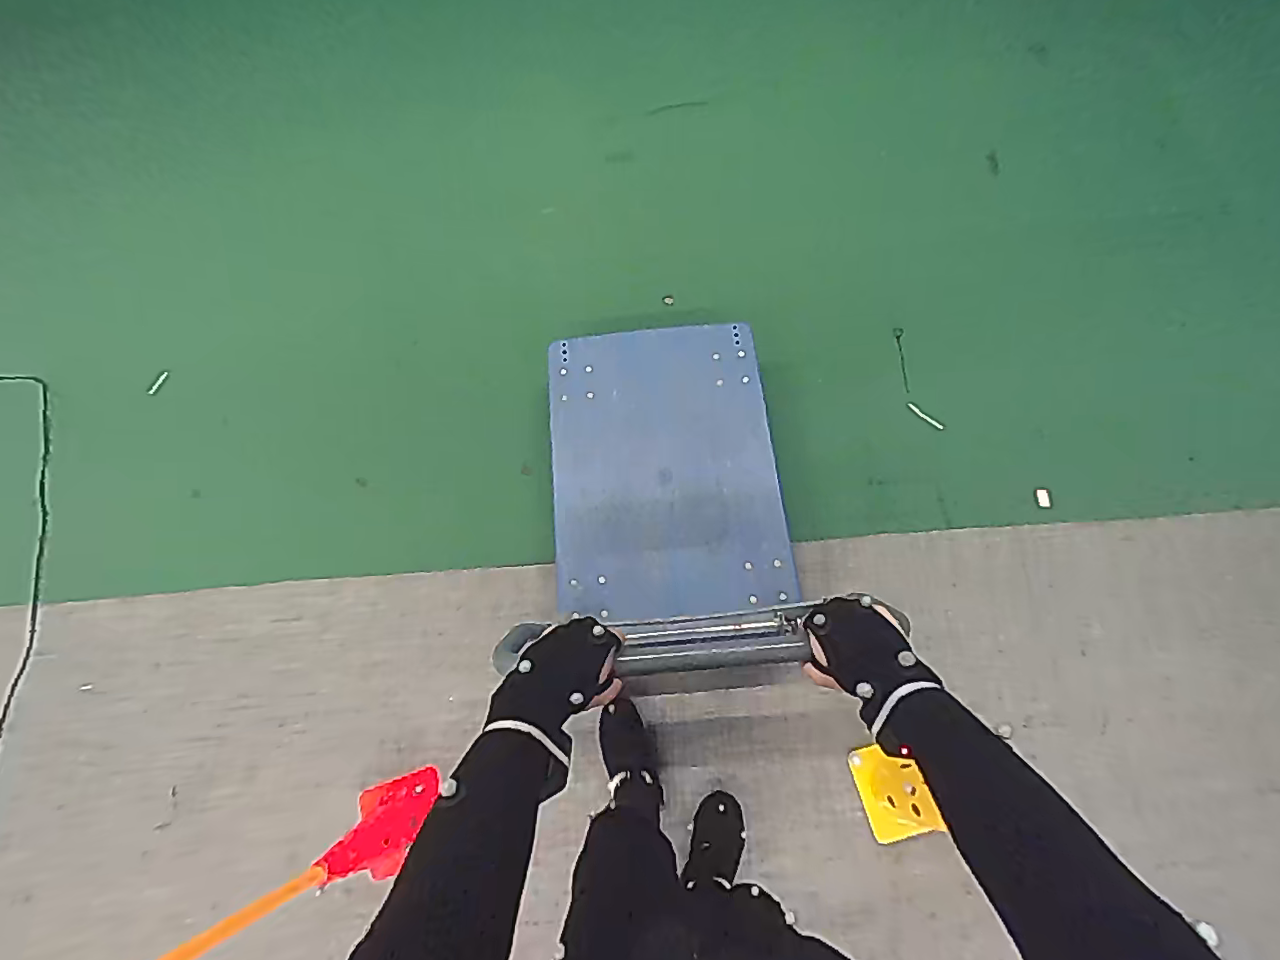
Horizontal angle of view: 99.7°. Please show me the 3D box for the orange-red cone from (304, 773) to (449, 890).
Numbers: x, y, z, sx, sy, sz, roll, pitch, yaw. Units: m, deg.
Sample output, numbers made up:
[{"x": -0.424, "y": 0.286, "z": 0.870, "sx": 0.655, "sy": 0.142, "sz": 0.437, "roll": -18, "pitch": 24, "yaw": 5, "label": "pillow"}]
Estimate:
[{"x": -0.575, "y": 0.773, "z": 1.131, "sx": 0.199, "sy": 0.360, "sz": 0.198, "roll": -19, "pitch": 70, "yaw": -2, "label": "orange-red cone"}]
